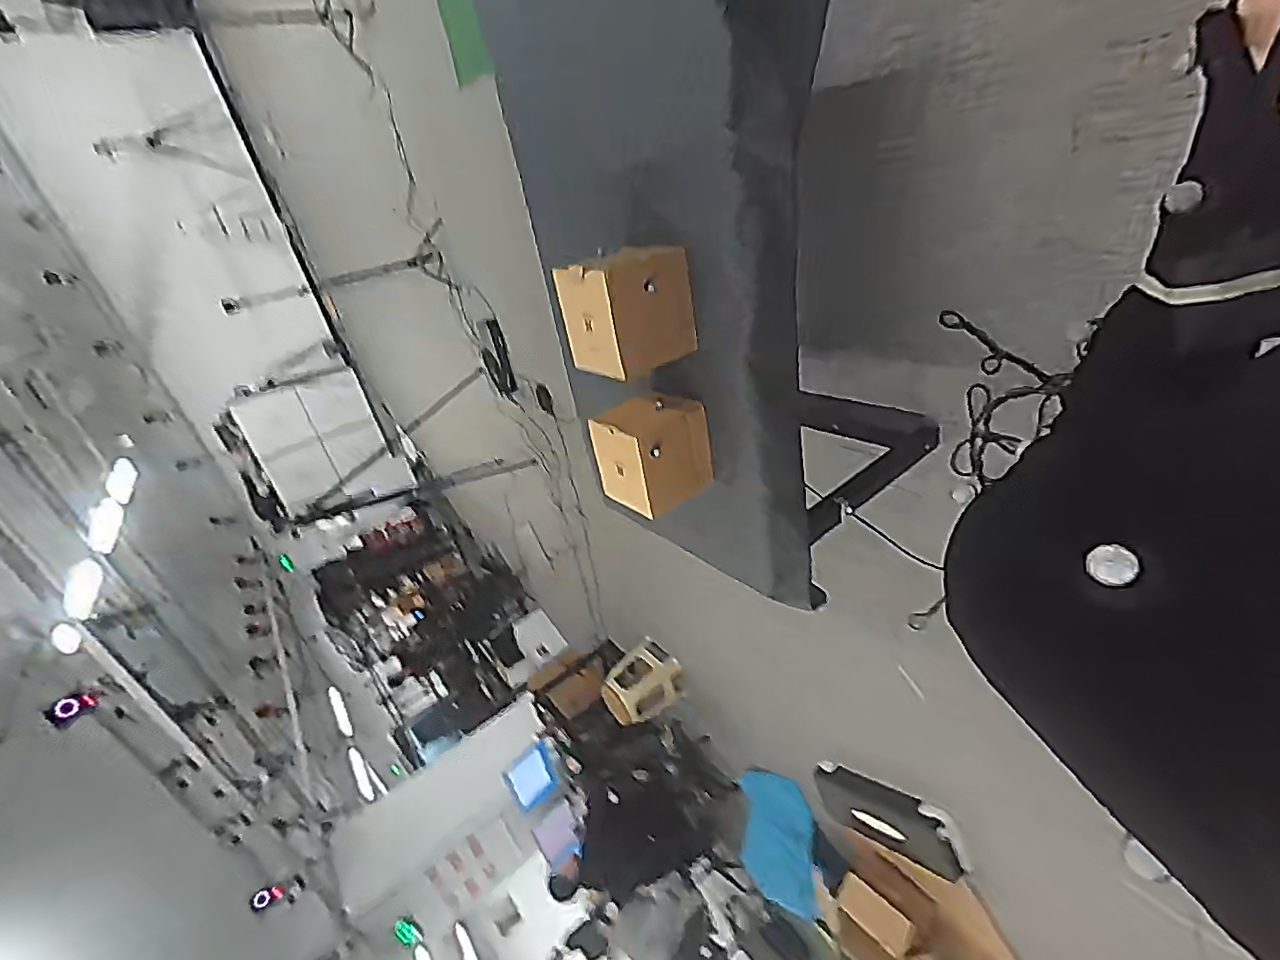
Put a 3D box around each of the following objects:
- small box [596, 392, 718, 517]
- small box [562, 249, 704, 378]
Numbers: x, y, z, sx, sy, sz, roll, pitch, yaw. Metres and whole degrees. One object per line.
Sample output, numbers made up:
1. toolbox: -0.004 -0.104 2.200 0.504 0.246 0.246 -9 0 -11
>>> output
1. small box: 0.040 -0.058 1.085 0.168 0.176 0.179 25 134 50
2. small box: -0.008 -0.299 0.950 0.168 0.176 0.179 27 138 50
